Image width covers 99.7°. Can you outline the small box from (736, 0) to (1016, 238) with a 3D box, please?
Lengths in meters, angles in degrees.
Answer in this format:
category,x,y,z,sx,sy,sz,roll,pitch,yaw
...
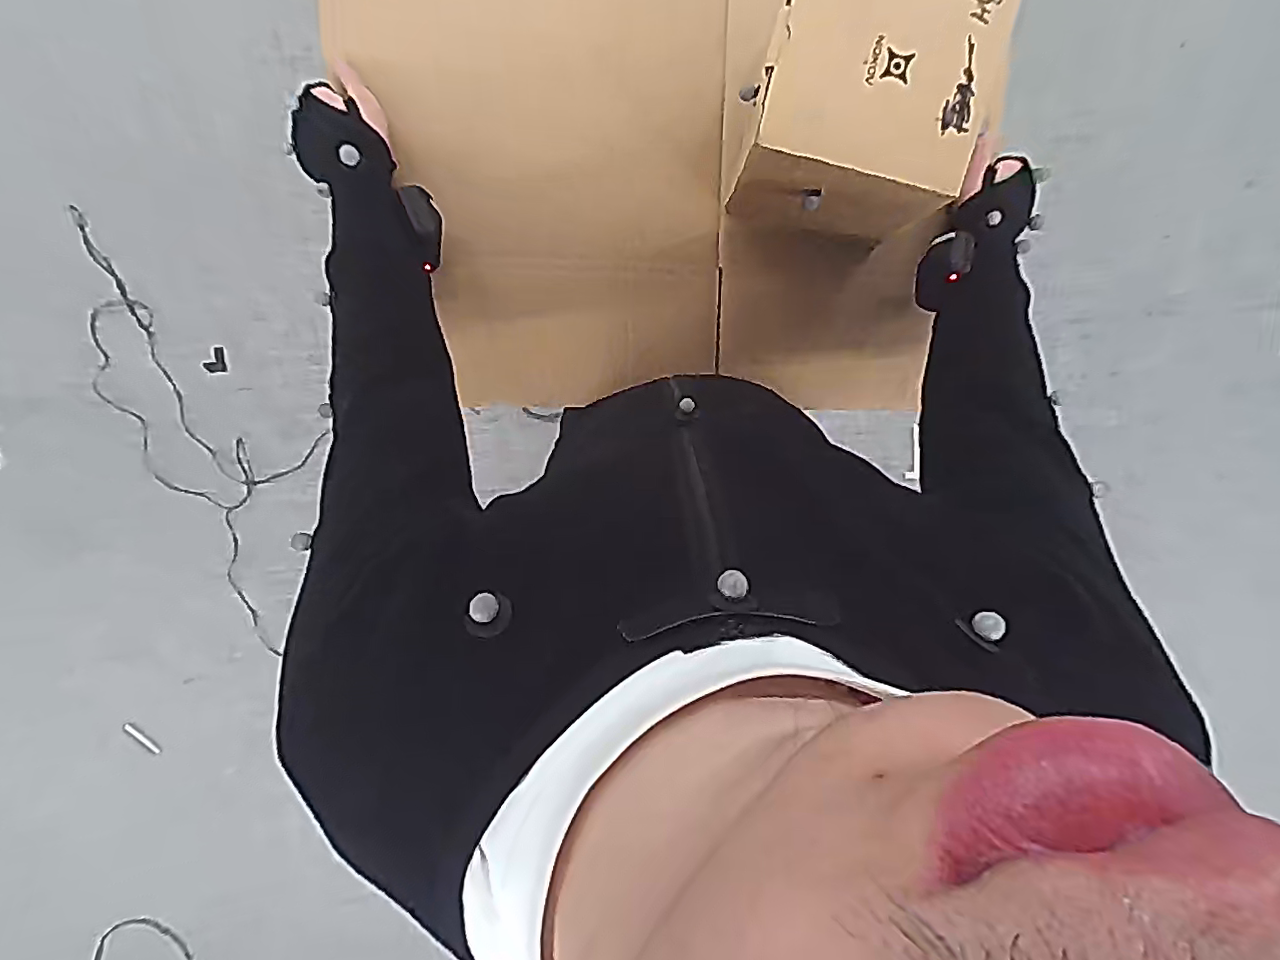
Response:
category,x,y,z,sx,sy,sz,roll,pitch,yaw
small box,0.199,-0.349,0.512,0.179,0.176,0.168,14,100,0
